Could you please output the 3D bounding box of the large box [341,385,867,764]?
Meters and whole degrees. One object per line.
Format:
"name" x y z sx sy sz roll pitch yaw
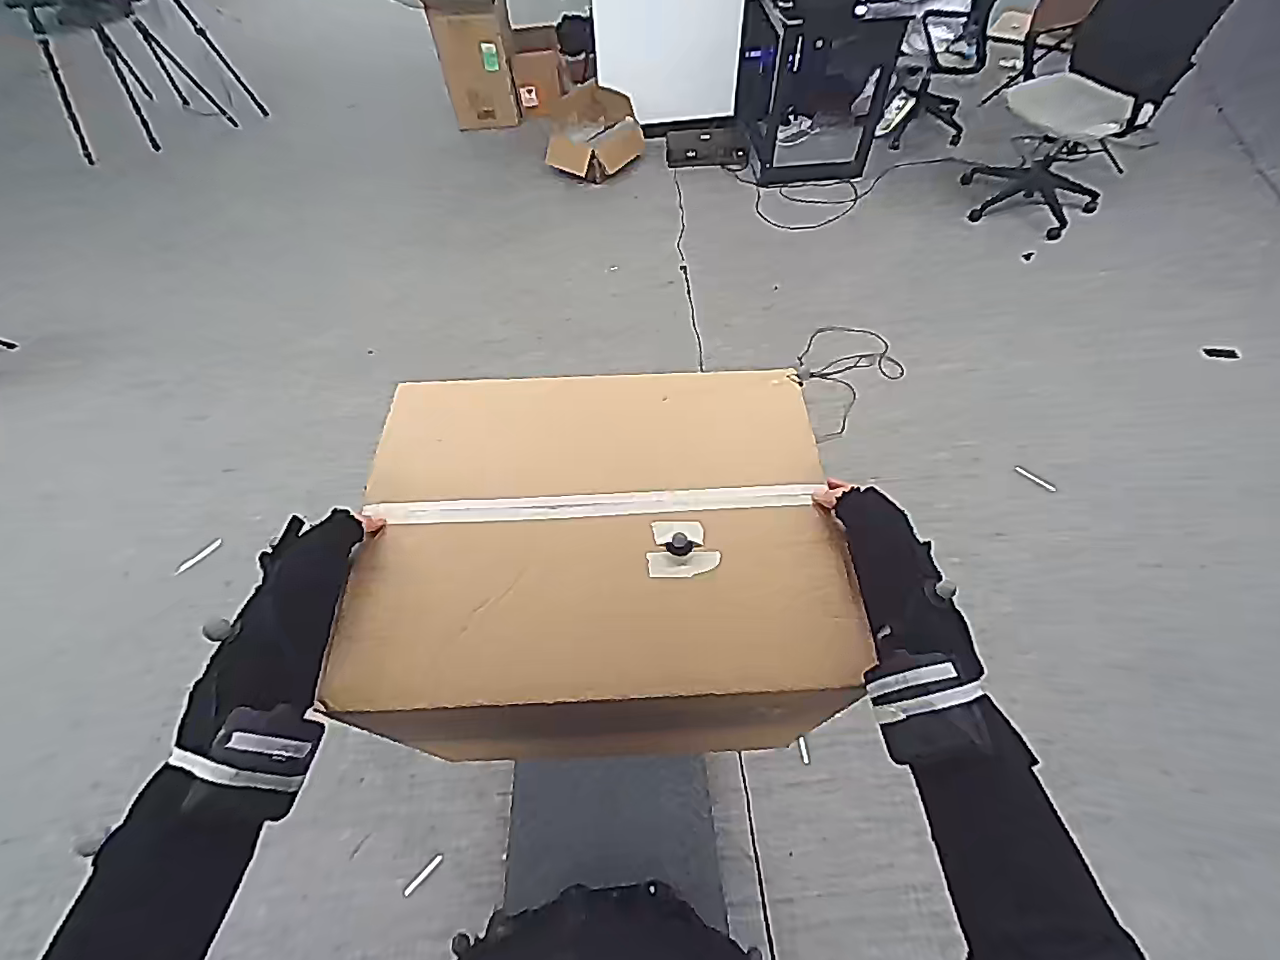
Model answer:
"large box" -0.033 0.117 0.607 0.408 0.320 0.320 -2 56 -1
